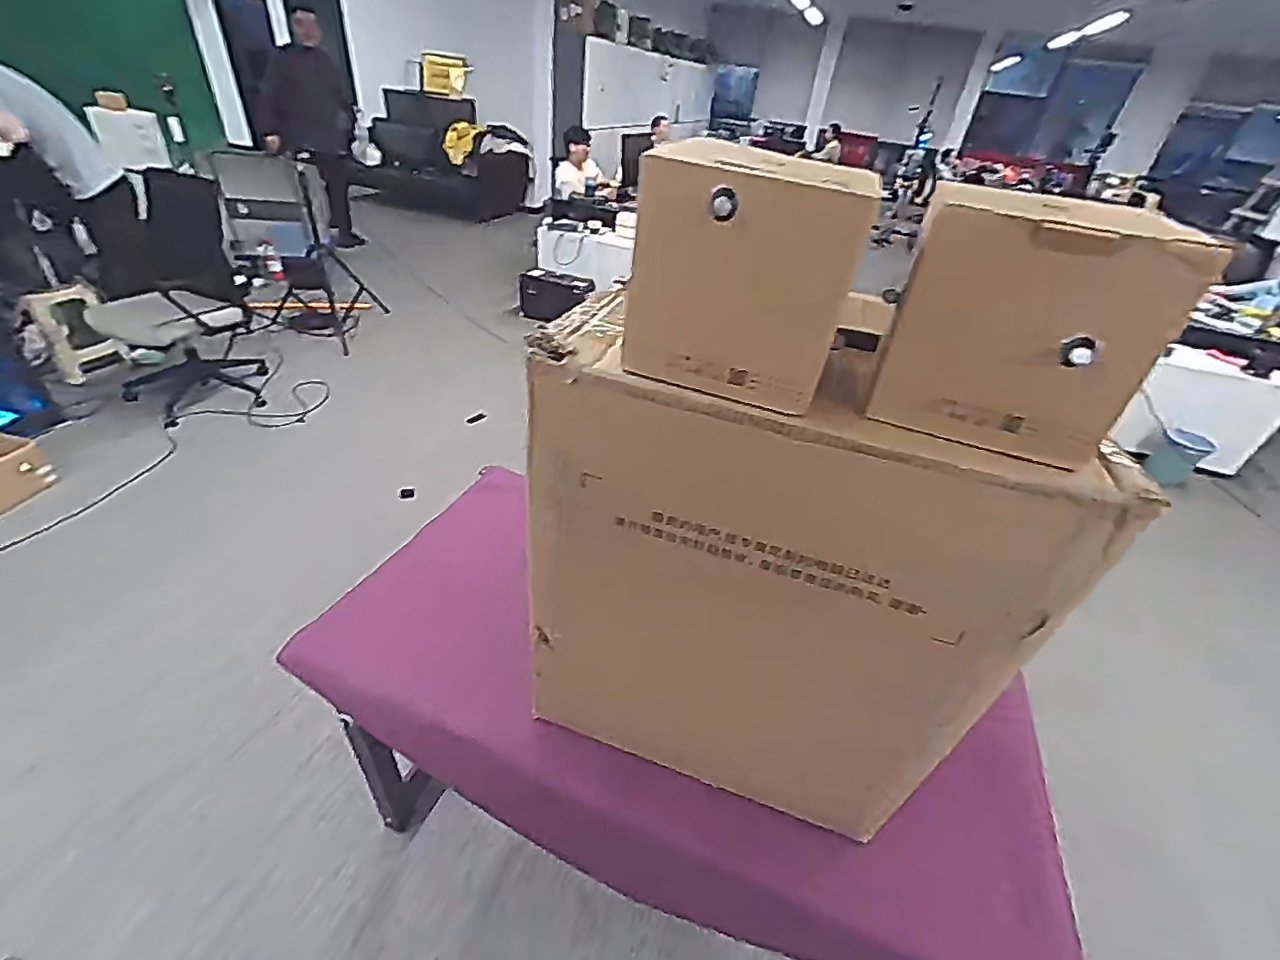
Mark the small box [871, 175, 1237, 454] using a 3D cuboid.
[{"bbox_3d":[0.306,-0.144,0.451,0.168,0.176,0.179,19,36,15],"label":"small box"}]

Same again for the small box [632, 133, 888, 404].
[{"bbox_3d":[0.099,-0.190,0.473,0.168,0.176,0.179,16,36,12],"label":"small box"}]
